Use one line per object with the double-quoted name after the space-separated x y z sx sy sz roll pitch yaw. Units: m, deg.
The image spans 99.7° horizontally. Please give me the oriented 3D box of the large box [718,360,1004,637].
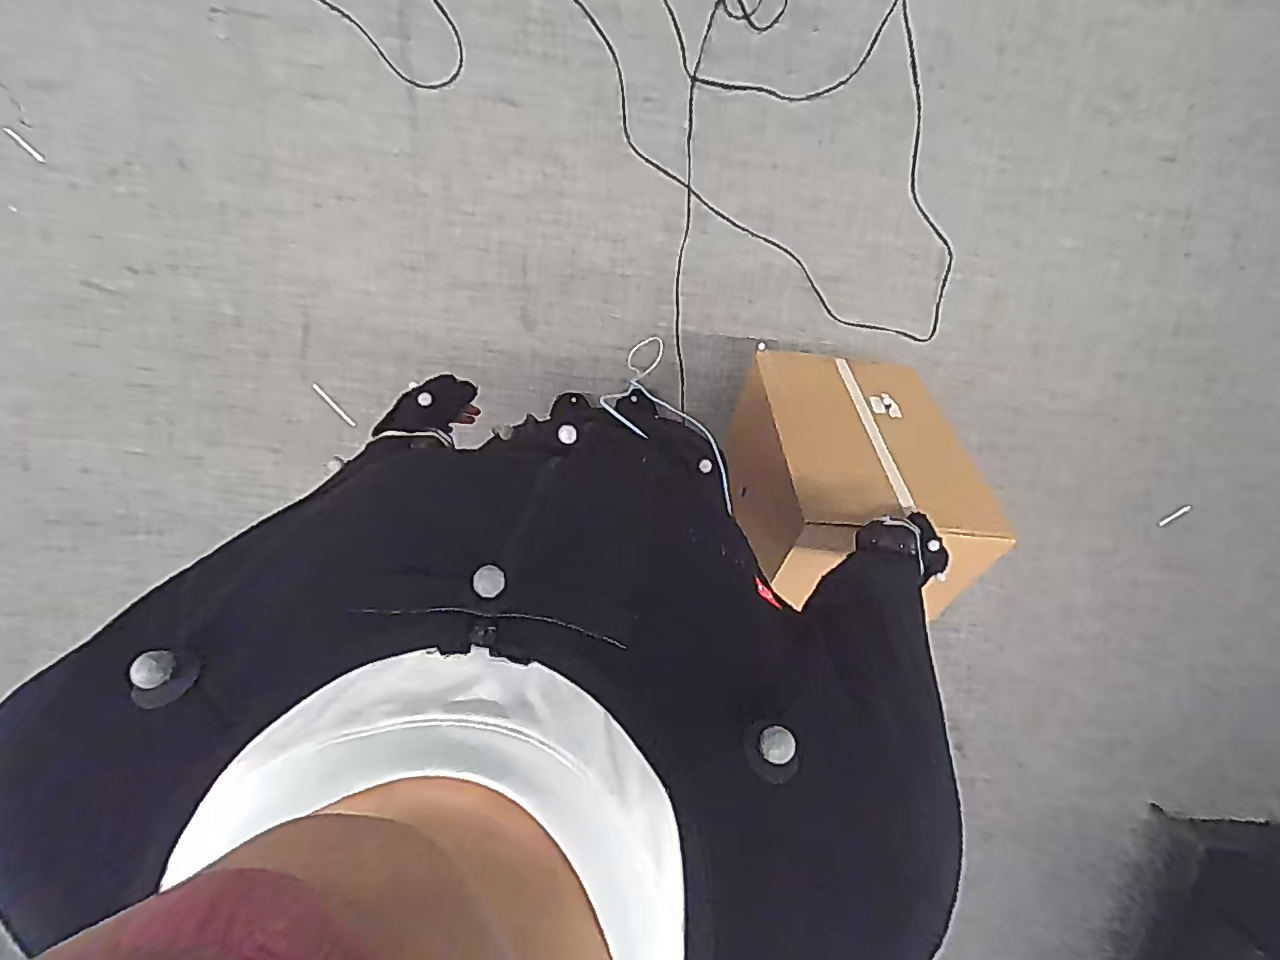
0.345 0.034 0.990 0.320 0.408 0.320 6 136 -7 "large box"
